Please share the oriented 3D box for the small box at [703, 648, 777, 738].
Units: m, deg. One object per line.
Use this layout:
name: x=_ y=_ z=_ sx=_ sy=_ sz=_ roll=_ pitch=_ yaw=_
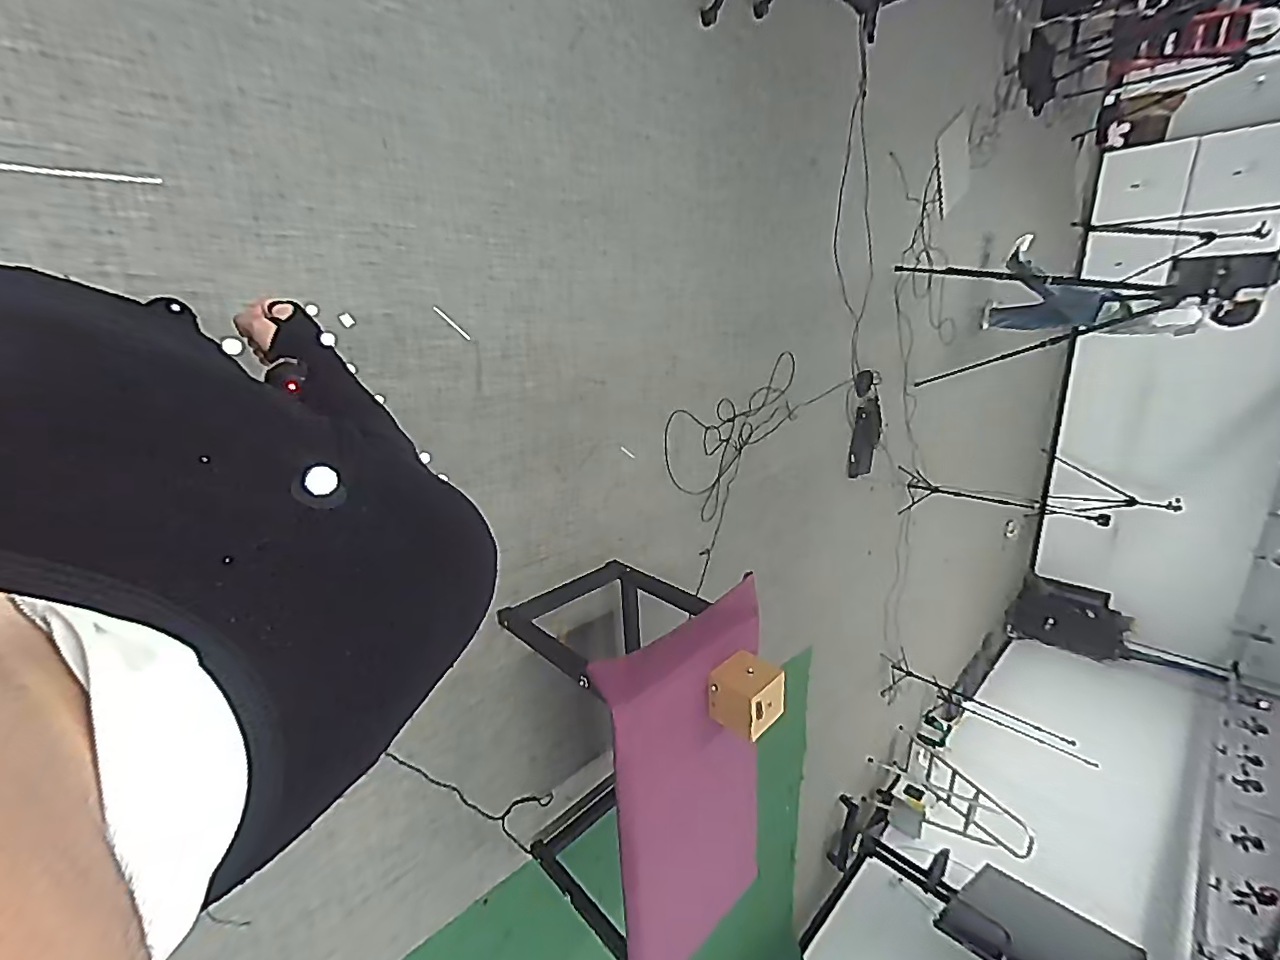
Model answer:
small box: x=0.312 y=0.665 z=1.708 sx=0.179 sy=0.176 sz=0.168 roll=-20 pitch=115 yaw=-41
